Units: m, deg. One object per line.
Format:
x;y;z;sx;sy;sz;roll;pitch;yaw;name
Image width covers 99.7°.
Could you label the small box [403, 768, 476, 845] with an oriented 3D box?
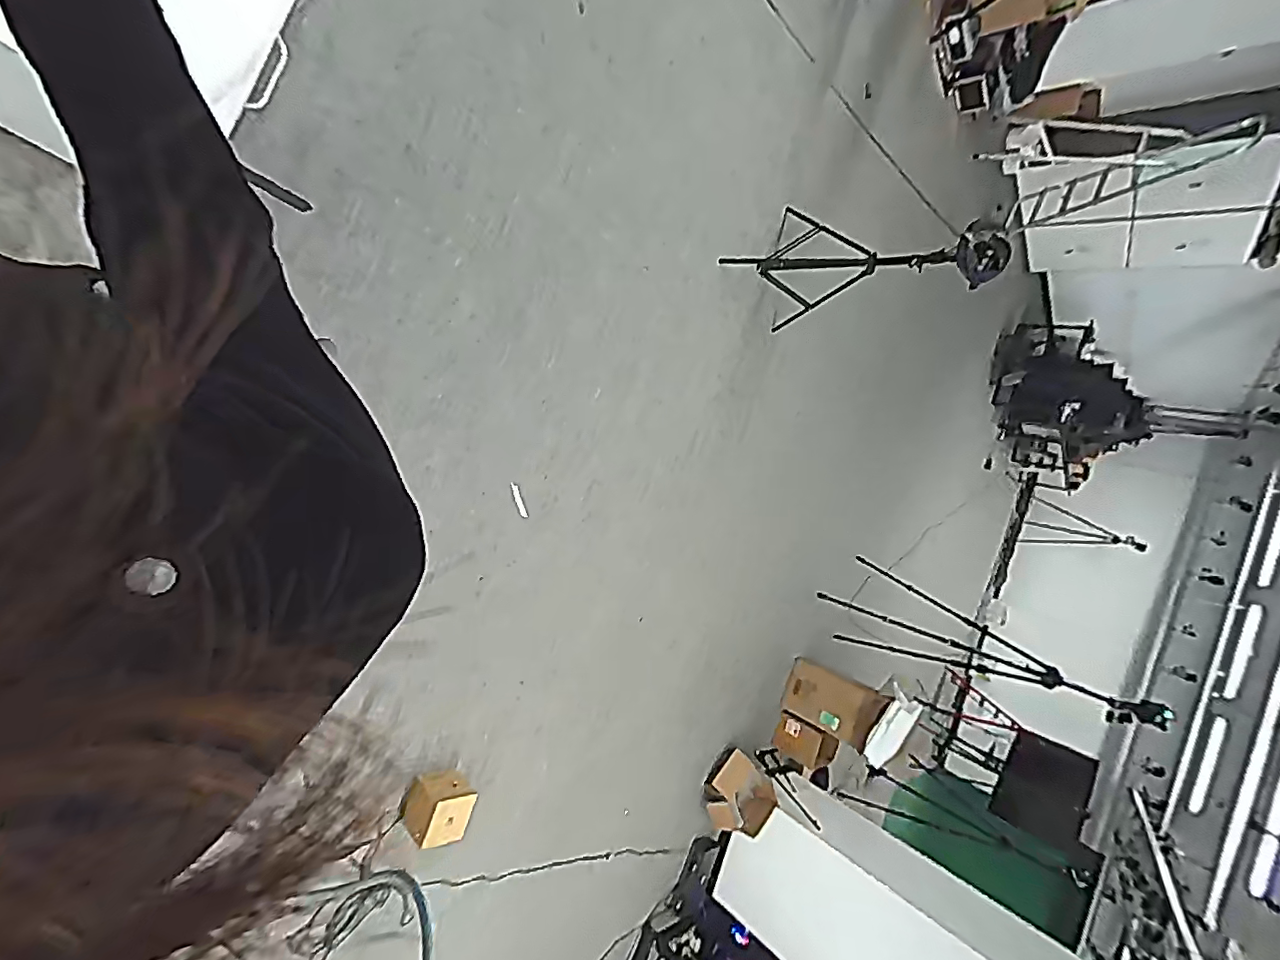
-0.736;1.178;1.974;0.168;0.176;0.179;22;88;-48;small box
